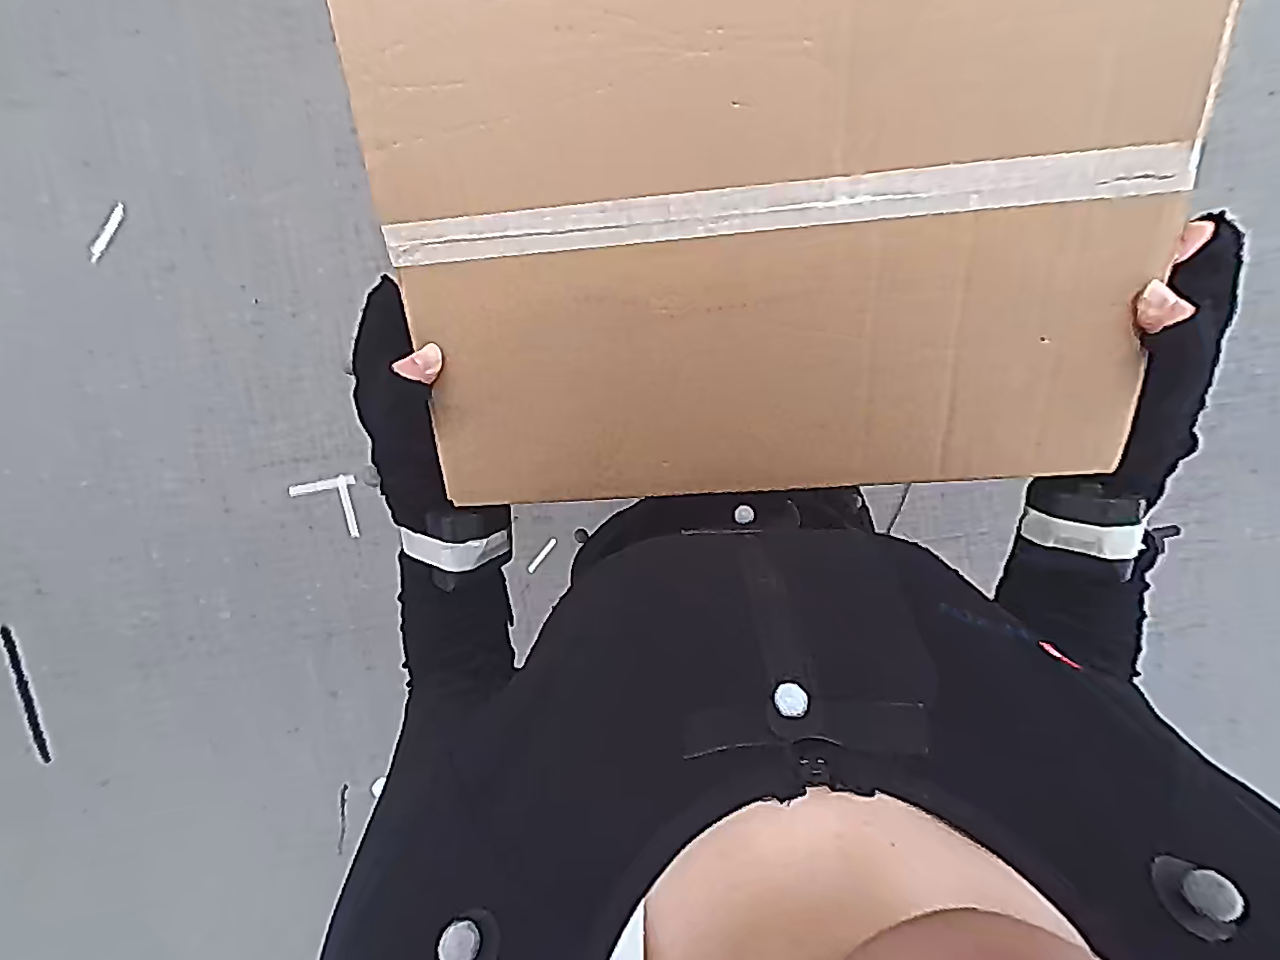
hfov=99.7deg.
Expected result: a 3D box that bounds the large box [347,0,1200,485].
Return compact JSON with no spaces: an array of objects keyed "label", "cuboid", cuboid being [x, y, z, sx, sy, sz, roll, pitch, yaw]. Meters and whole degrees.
[{"label":"large box","cuboid":[0.069,-0.206,0.425,0.408,0.320,0.320,-3,113,4]}]
